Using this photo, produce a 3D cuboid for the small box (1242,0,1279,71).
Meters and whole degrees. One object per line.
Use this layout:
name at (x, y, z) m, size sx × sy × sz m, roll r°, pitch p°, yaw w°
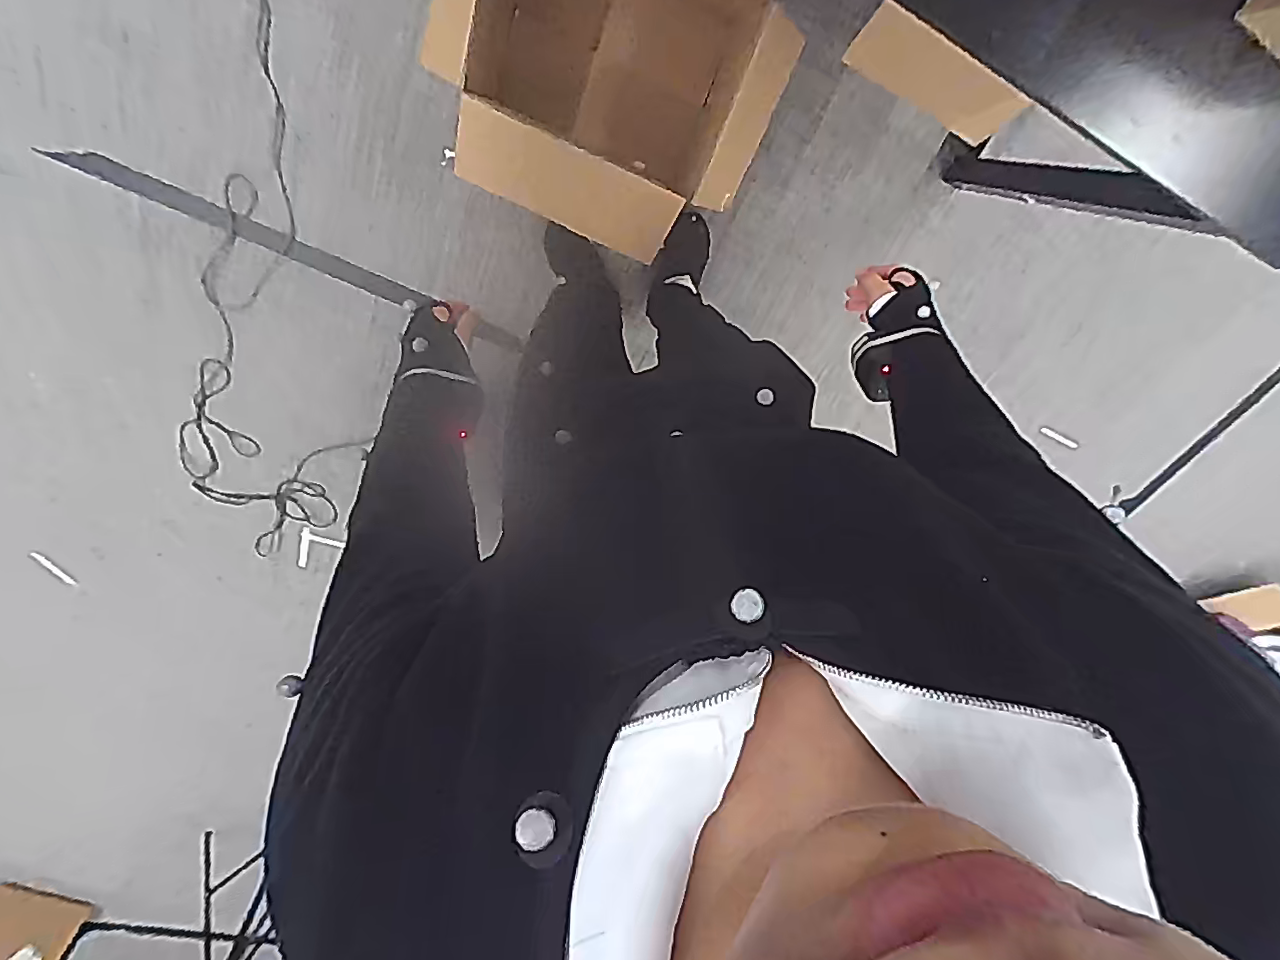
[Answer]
small box at (0.669, -0.427, 0.423) m, size 0.168 × 0.176 × 0.179 m, roll 22°, pitch 119°, yaw -16°
